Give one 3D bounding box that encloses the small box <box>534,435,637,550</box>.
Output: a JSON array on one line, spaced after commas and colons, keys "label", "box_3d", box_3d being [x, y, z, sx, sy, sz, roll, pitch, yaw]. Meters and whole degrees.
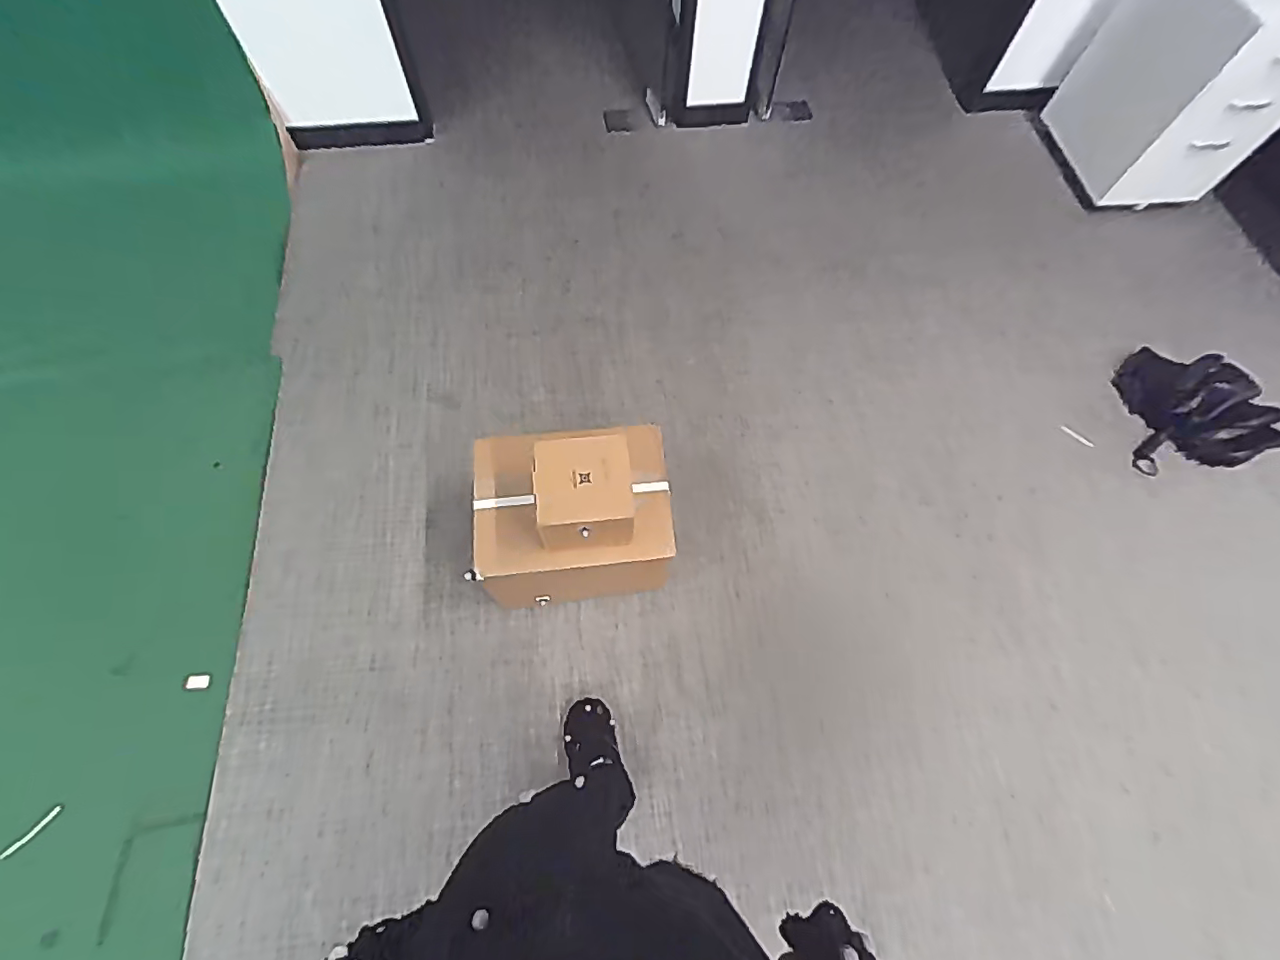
[{"label": "small box", "box_3d": [-0.102, 0.030, 1.042, 0.179, 0.176, 0.168, -6, 68, -5]}]
